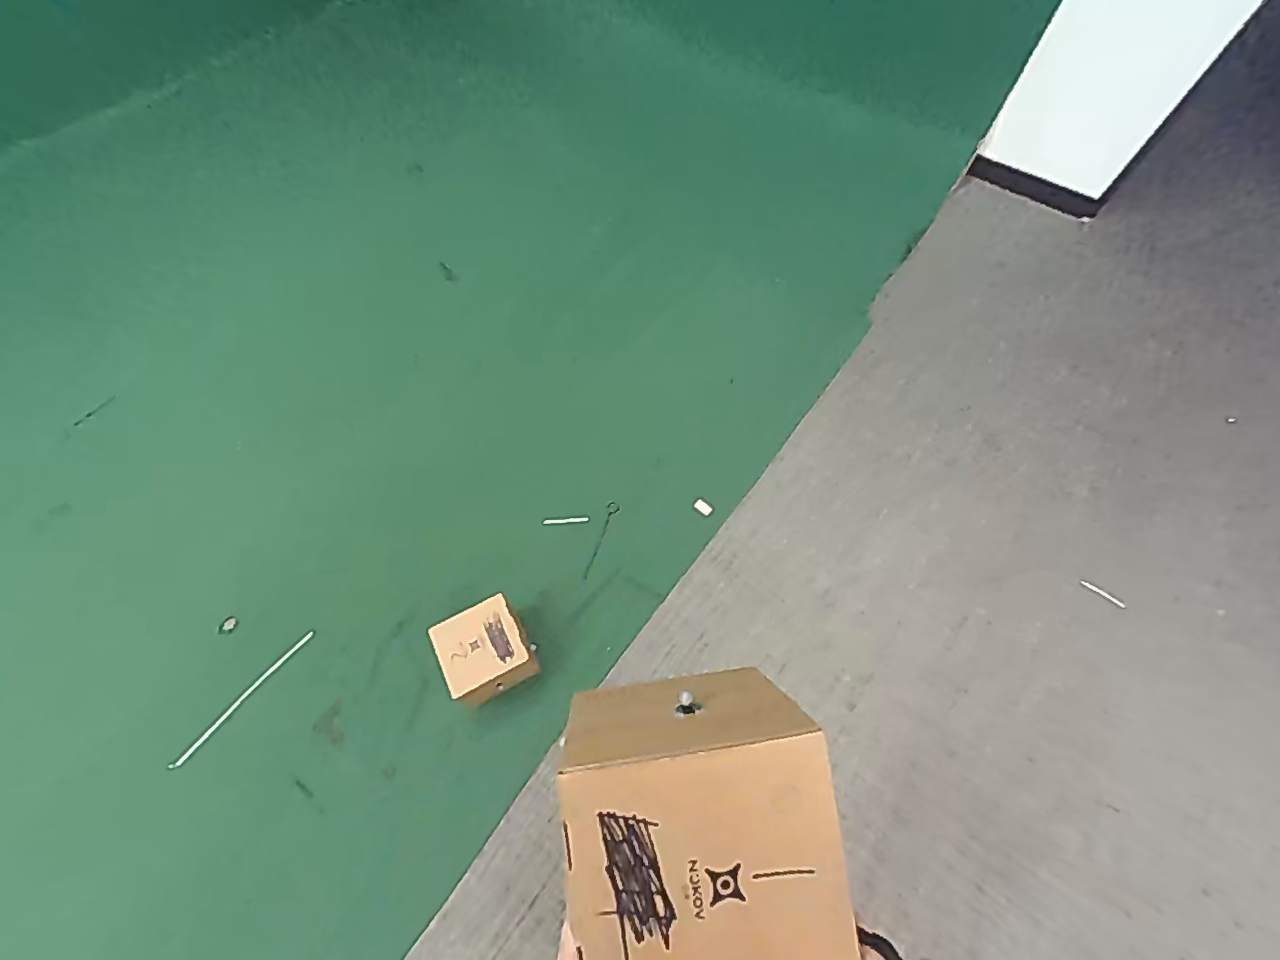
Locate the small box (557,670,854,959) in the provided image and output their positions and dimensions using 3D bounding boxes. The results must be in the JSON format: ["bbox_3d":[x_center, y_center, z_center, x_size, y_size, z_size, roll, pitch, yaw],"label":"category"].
[{"bbox_3d":[0.038,0.260,0.422,0.179,0.176,0.168,-7,85,-4],"label":"small box"}]
